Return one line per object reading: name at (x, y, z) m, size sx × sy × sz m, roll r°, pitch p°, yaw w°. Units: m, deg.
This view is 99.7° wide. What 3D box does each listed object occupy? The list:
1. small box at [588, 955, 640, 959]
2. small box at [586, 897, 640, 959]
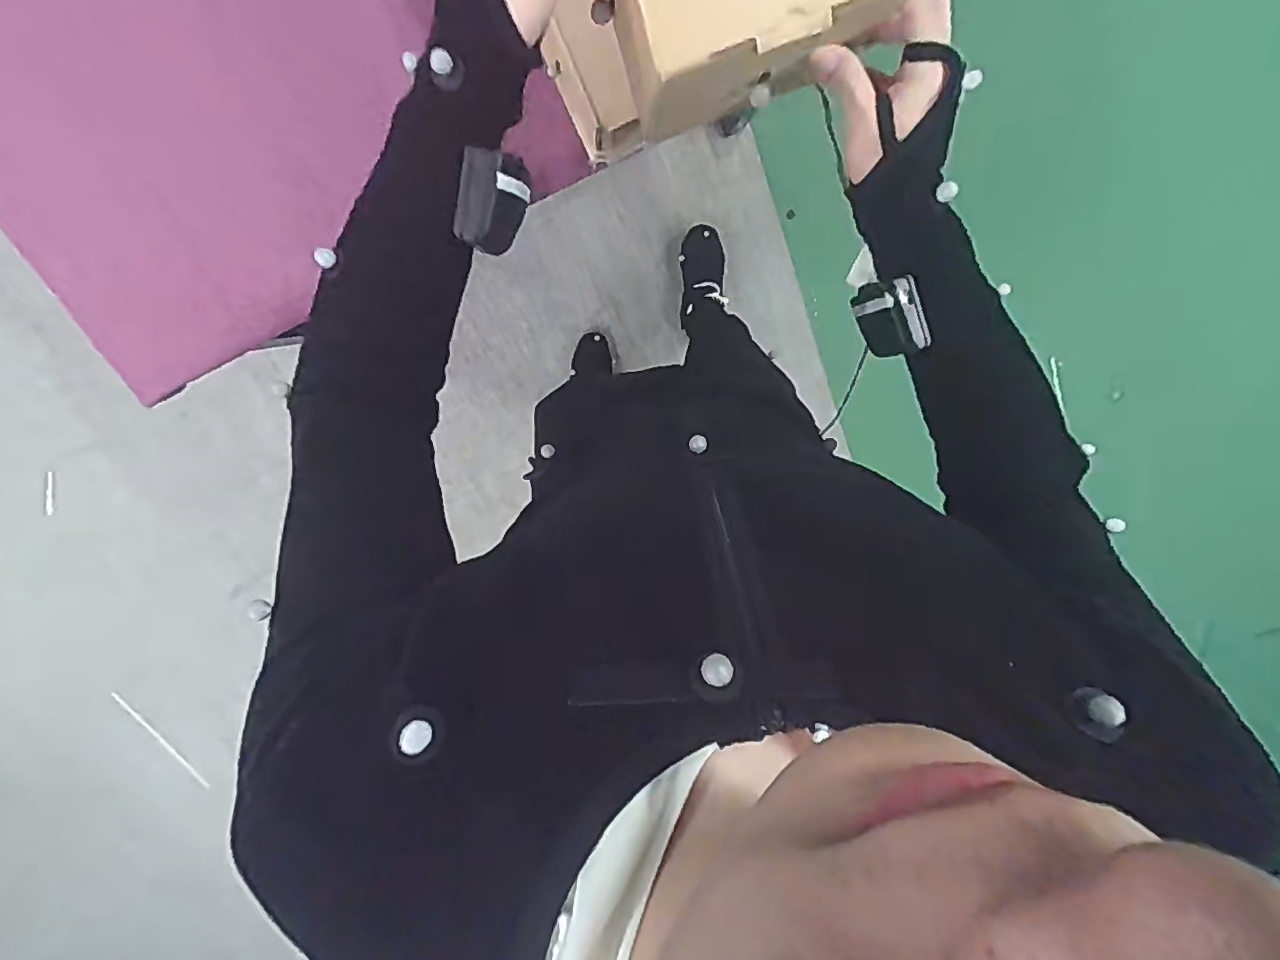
small box at (-0.071, 1.538, 1.585) m, size 0.168 × 0.176 × 0.179 m, roll -6°, pitch 108°, yaw -1°
small box at (-0.084, 1.496, 1.742) m, size 0.168 × 0.176 × 0.179 m, roll -4°, pitch 107°, yaw -3°
